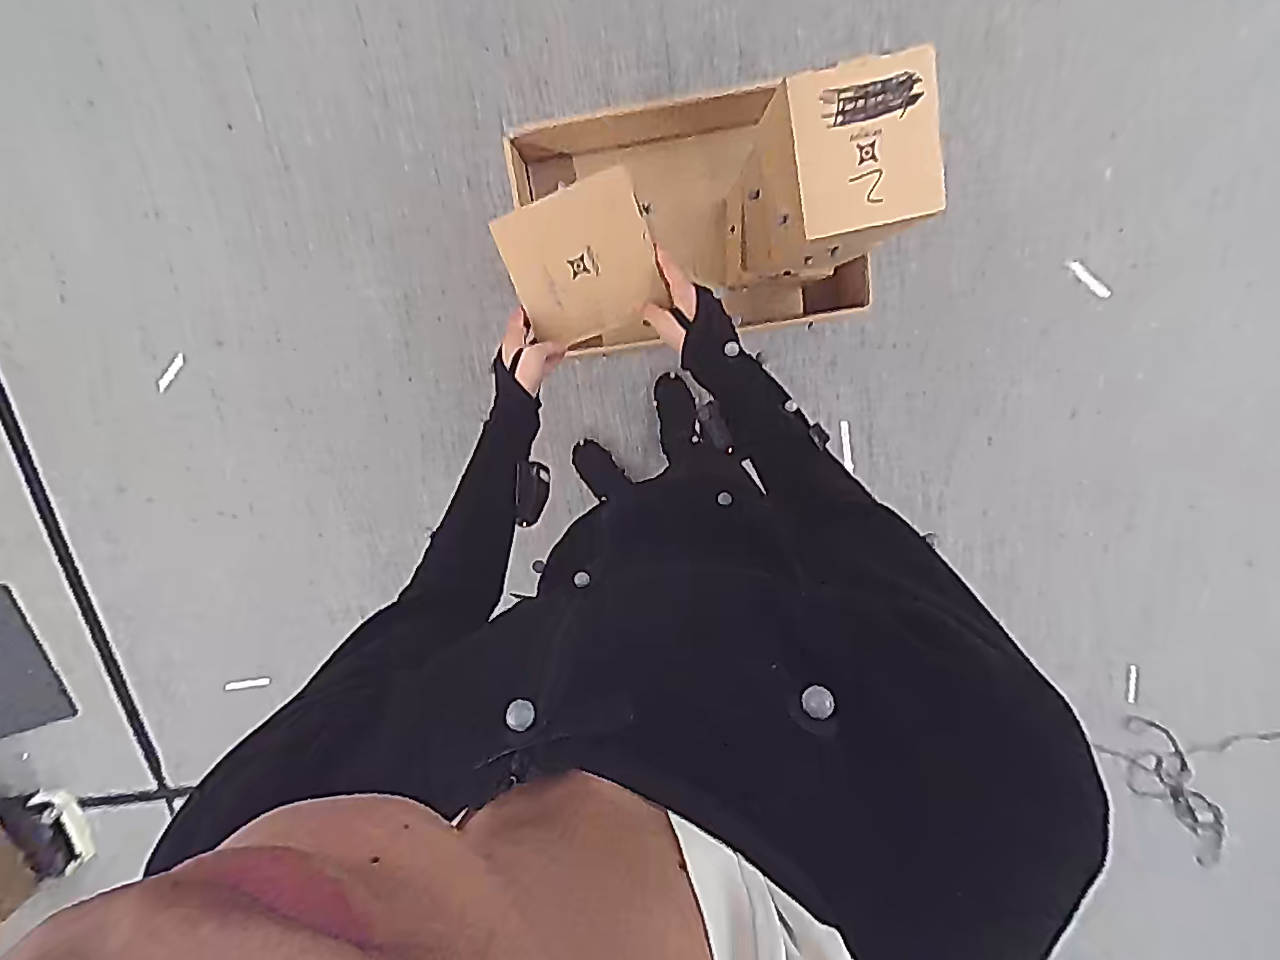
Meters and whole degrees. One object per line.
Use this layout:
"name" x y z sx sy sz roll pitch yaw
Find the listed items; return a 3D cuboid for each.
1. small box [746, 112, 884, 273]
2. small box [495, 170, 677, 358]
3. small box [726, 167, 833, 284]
"small box" 0.264 -0.437 0.847 0.168 0.176 0.179 -5 102 1
"small box" -0.058 -0.278 0.711 0.179 0.176 0.168 -18 108 11
"small box" 0.256 -0.464 1.008 0.168 0.176 0.179 -2 102 -1
